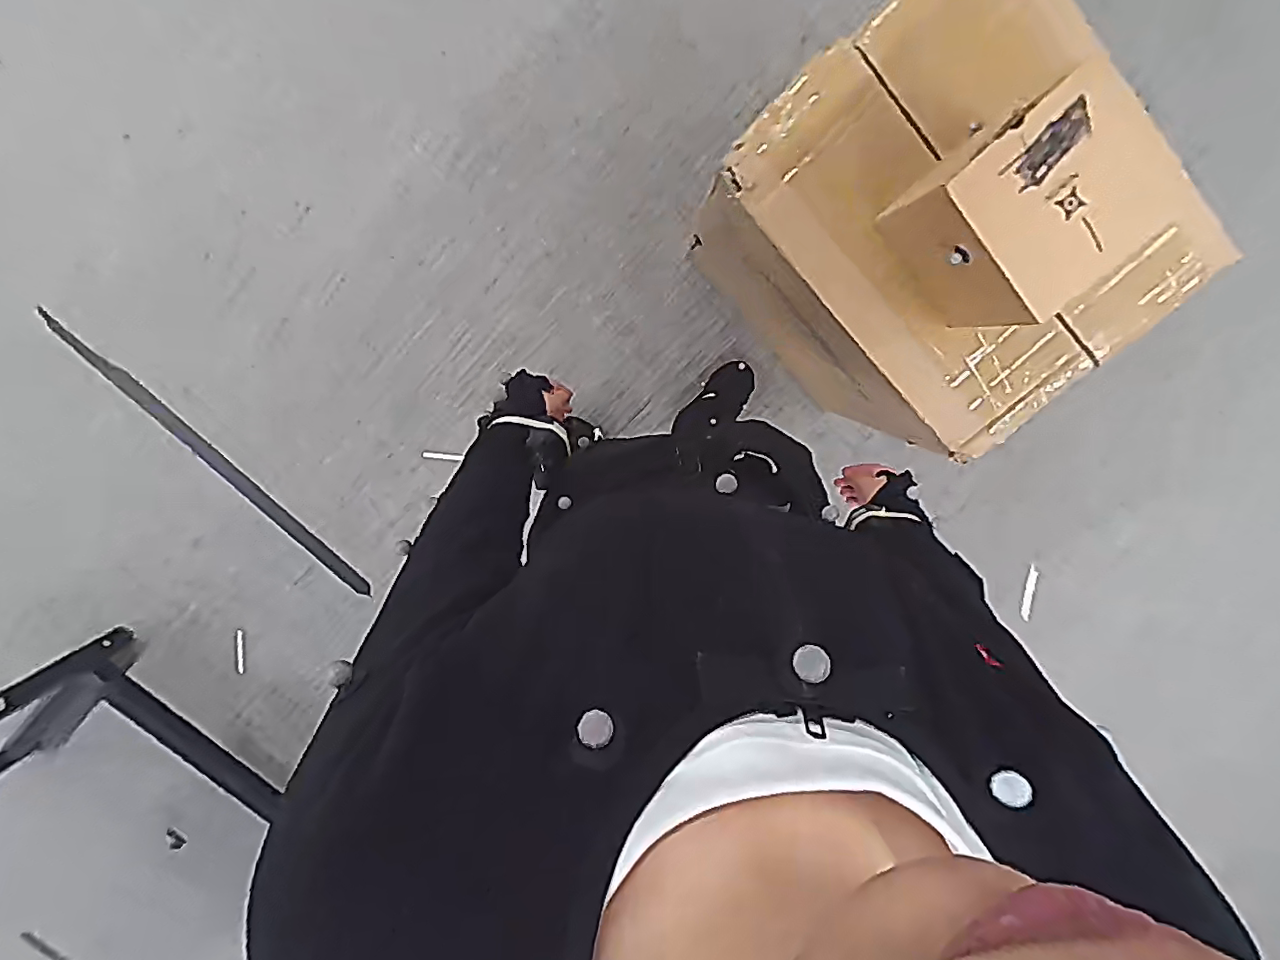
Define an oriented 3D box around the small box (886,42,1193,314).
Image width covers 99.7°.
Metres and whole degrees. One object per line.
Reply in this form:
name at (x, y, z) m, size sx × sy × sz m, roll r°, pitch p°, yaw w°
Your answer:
small box at (0.406, -0.297, 0.585) m, size 0.168 × 0.176 × 0.179 m, roll -41°, pitch 100°, yaw 11°
